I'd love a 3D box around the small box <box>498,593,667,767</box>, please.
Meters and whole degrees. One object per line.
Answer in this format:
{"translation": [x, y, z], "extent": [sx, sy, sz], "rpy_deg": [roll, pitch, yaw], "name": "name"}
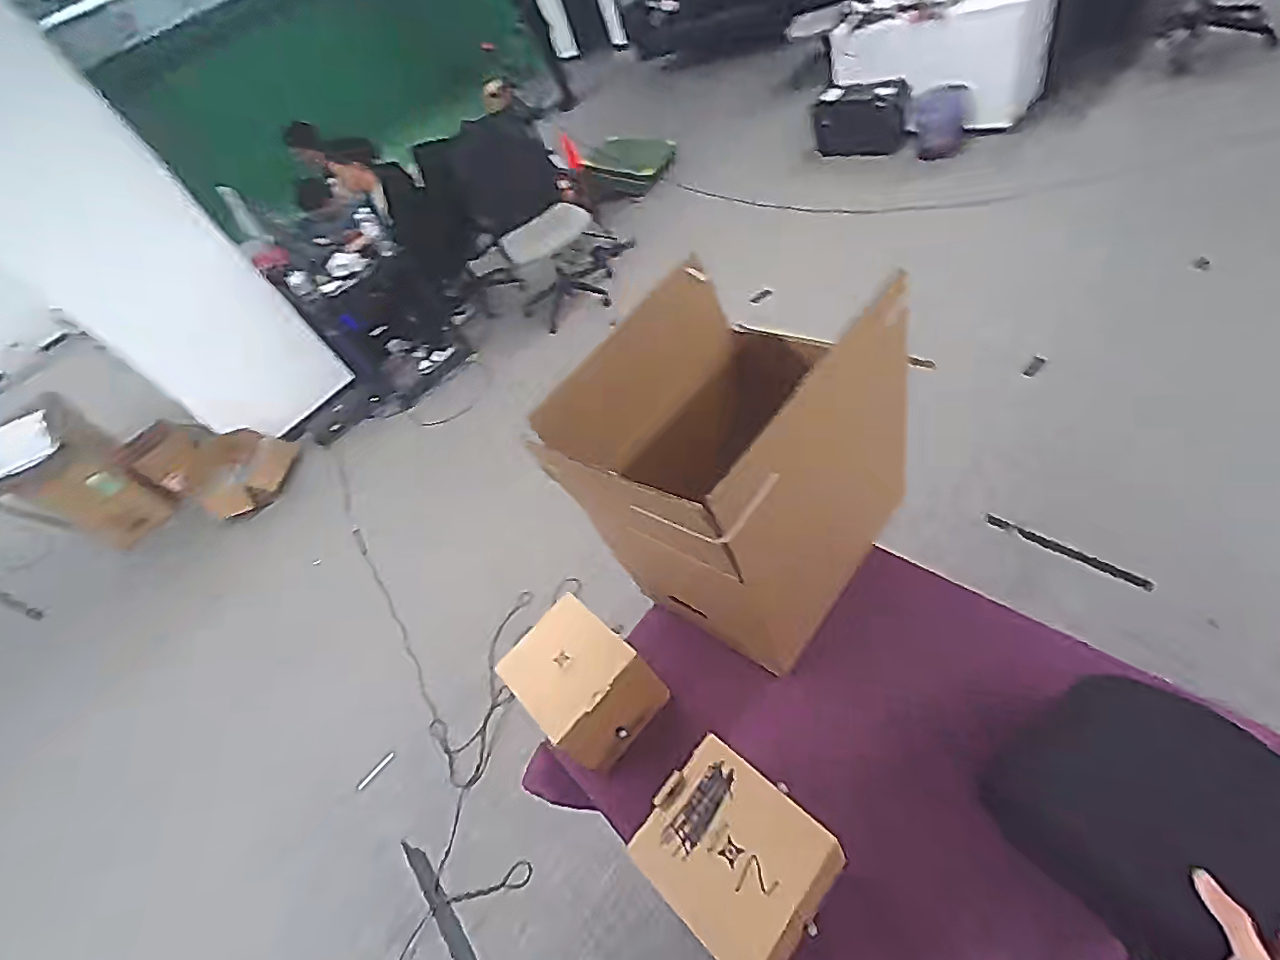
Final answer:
{"translation": [-0.086, 0.320, 0.862], "extent": [0.168, 0.176, 0.179], "rpy_deg": [-45, 48, -17], "name": "small box"}
